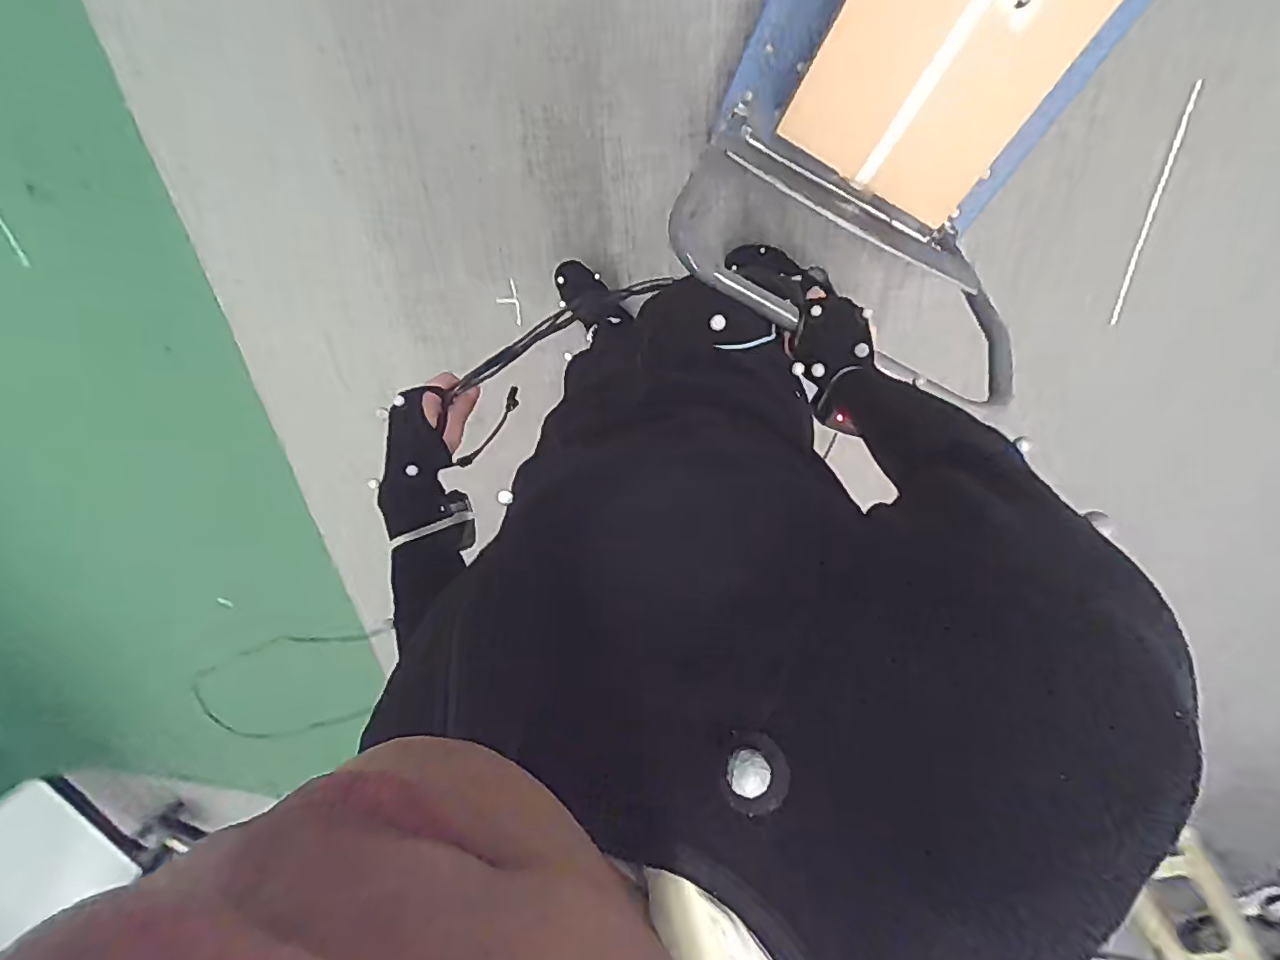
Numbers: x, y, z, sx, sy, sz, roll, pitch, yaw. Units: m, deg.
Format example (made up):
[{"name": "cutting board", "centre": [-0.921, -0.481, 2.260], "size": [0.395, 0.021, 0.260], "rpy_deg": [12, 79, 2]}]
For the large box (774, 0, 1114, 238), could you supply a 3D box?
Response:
[{"name": "large box", "centre": [0.463, -0.690, 0.892], "size": [0.320, 0.320, 0.408], "rpy_deg": [28, 128, -6]}]
